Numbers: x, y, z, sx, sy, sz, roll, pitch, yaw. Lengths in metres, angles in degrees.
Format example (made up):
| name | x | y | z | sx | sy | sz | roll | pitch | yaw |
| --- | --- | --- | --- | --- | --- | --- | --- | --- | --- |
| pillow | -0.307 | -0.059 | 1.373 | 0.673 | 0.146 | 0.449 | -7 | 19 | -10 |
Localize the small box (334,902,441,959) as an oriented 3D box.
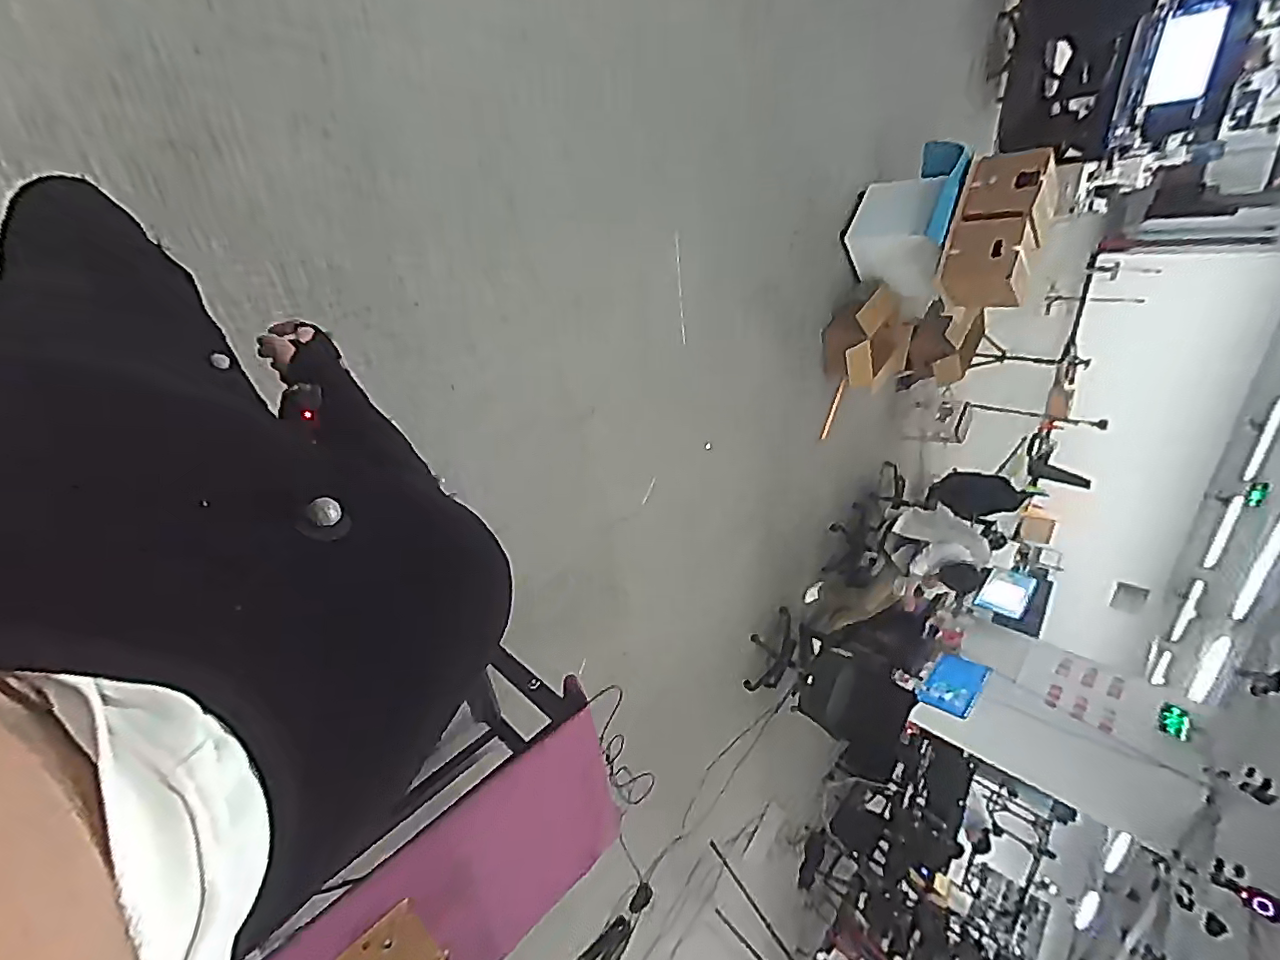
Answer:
| name | x | y | z | sx | sy | sz | roll | pitch | yaw |
| --- | --- | --- | --- | --- | --- | --- | --- | --- | --- |
| small box | -0.511 | 1.046 | 1.131 | 0.168 | 0.176 | 0.179 | -27 | 124 | -38 |
